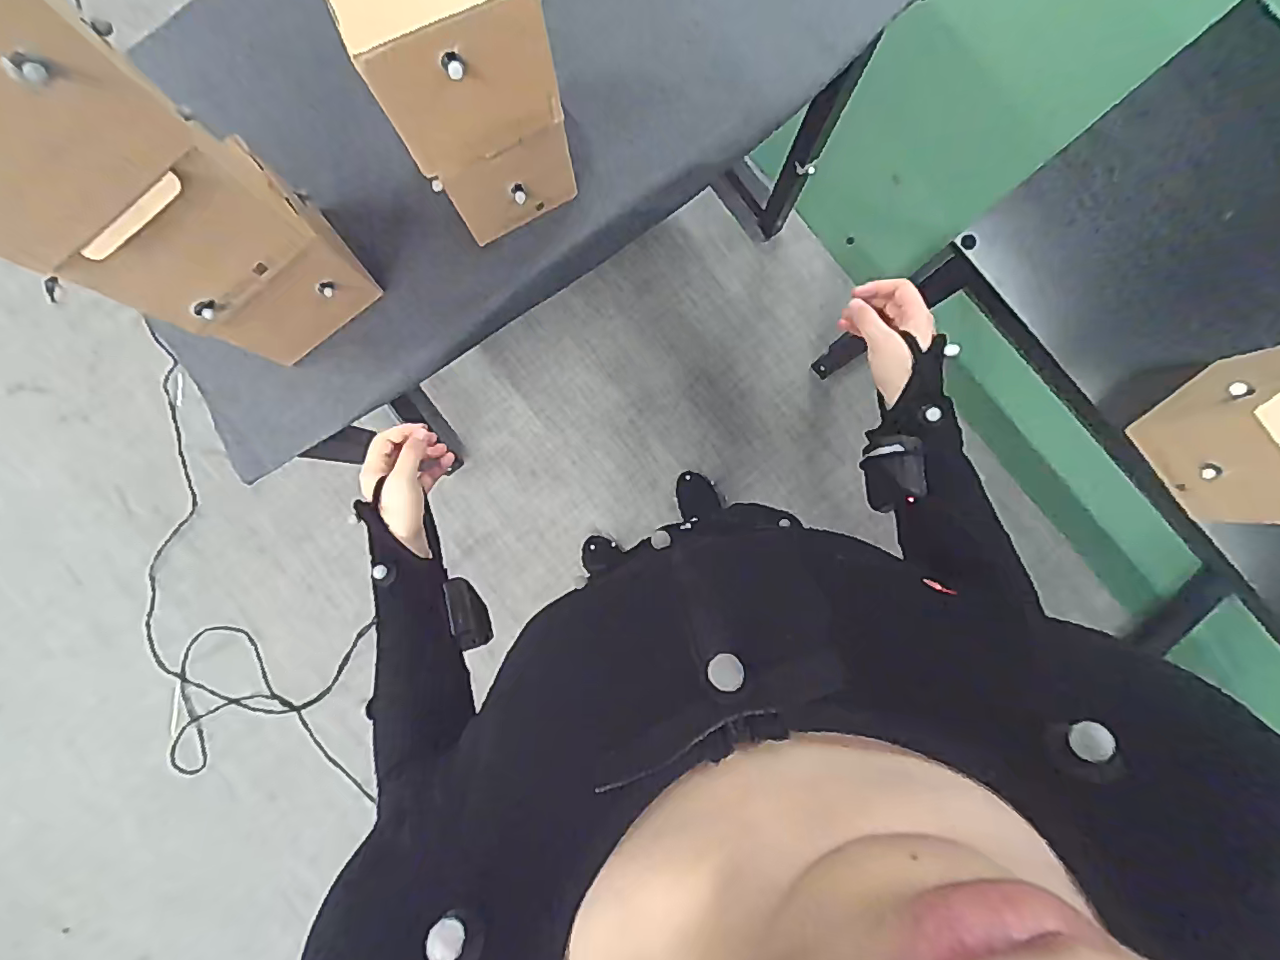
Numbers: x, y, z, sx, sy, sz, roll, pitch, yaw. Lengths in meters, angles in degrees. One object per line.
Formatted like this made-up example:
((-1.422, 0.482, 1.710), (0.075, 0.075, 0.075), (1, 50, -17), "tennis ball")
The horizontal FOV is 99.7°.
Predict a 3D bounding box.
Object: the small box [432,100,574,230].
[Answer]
((-0.201, -0.460, 0.707), (0.168, 0.176, 0.179), (-29, 88, 0), "small box")

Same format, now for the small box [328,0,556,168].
((-0.196, -0.462, 0.544), (0.179, 0.176, 0.168), (-23, 87, 1), "small box")

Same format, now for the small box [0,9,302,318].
((-0.493, -0.287, 0.540), (0.168, 0.176, 0.179), (-43, 86, -2), "small box")

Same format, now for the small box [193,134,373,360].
((-0.485, -0.287, 0.704), (0.179, 0.176, 0.168), (-39, 86, 0), "small box")

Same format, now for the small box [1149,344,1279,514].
((0.819, -0.065, 0.691), (0.179, 0.176, 0.168), (-36, 89, -1), "small box")
